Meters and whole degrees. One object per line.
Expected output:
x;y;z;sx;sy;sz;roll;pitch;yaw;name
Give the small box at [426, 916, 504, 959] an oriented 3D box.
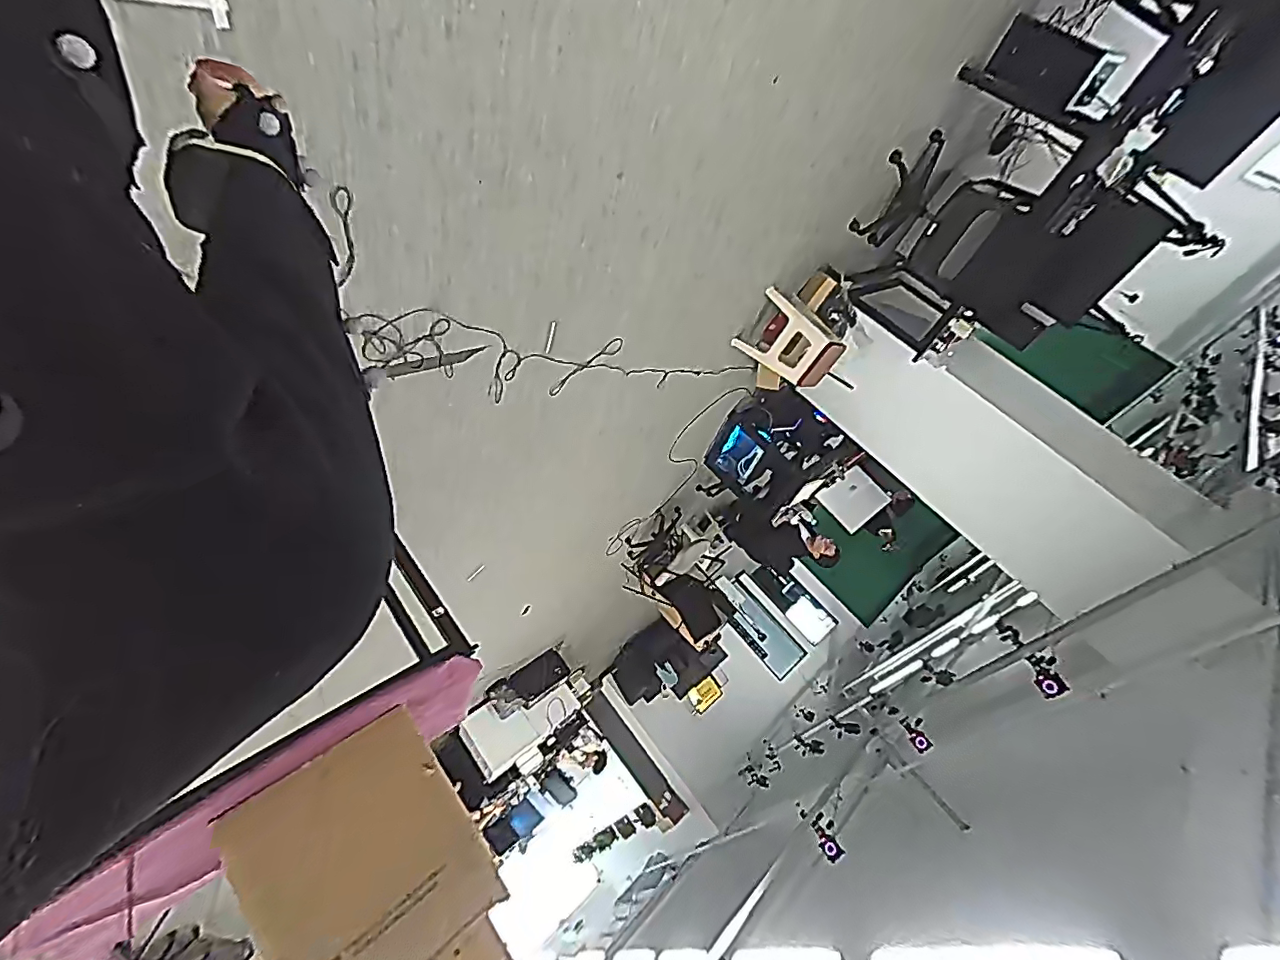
-0.505;1.412;1.570;0.179;0.176;0.168;-27;154;-34;small box
